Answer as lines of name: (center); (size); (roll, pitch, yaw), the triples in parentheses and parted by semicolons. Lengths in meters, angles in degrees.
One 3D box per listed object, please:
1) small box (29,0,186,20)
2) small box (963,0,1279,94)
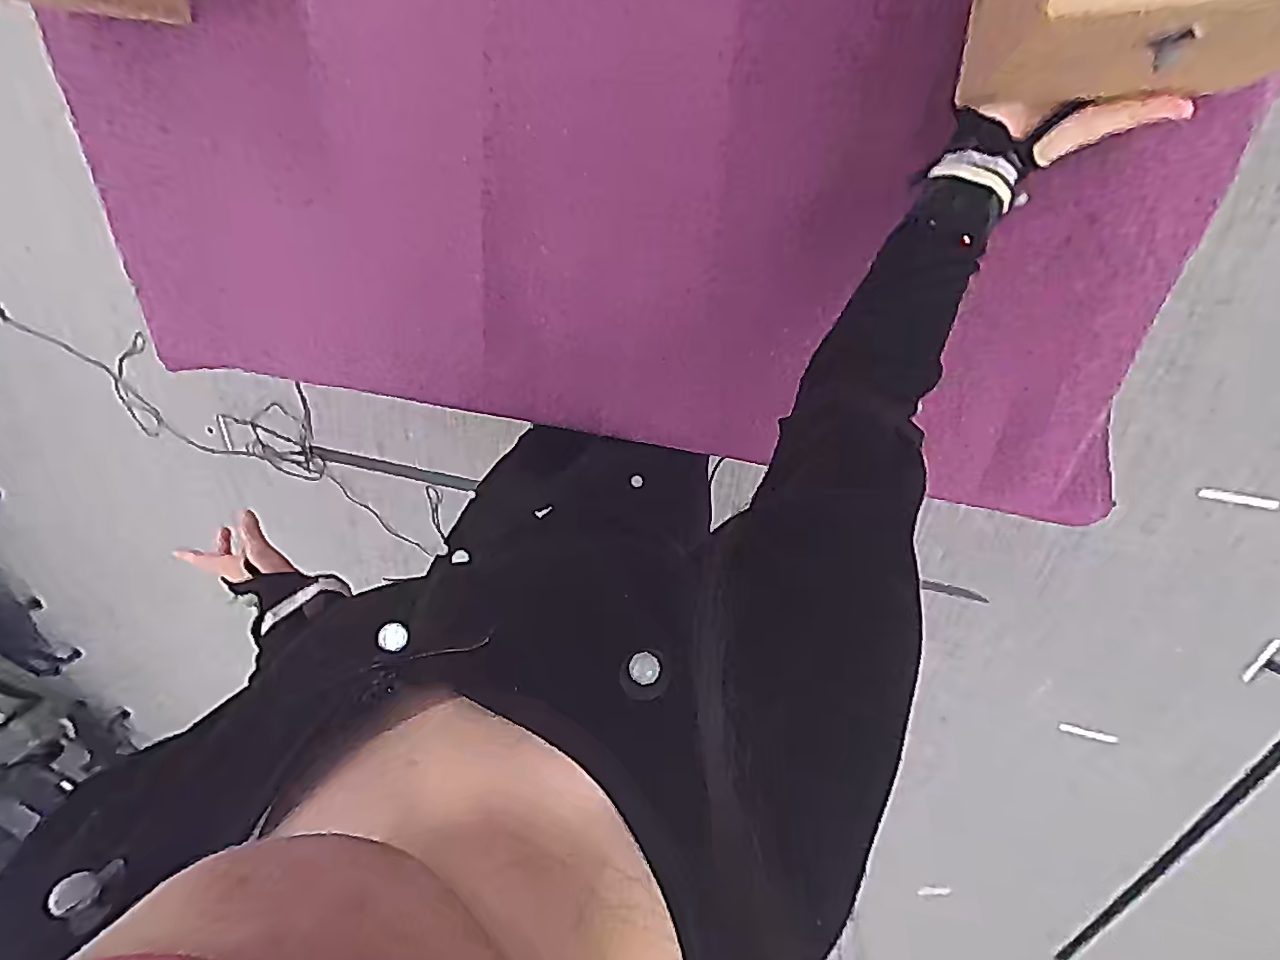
small box: (-0.571, -0.536, 0.479); (0.179, 0.176, 0.168); (13, 122, 8)
small box: (0.304, -0.333, 0.294); (0.179, 0.176, 0.168); (6, 112, 13)
